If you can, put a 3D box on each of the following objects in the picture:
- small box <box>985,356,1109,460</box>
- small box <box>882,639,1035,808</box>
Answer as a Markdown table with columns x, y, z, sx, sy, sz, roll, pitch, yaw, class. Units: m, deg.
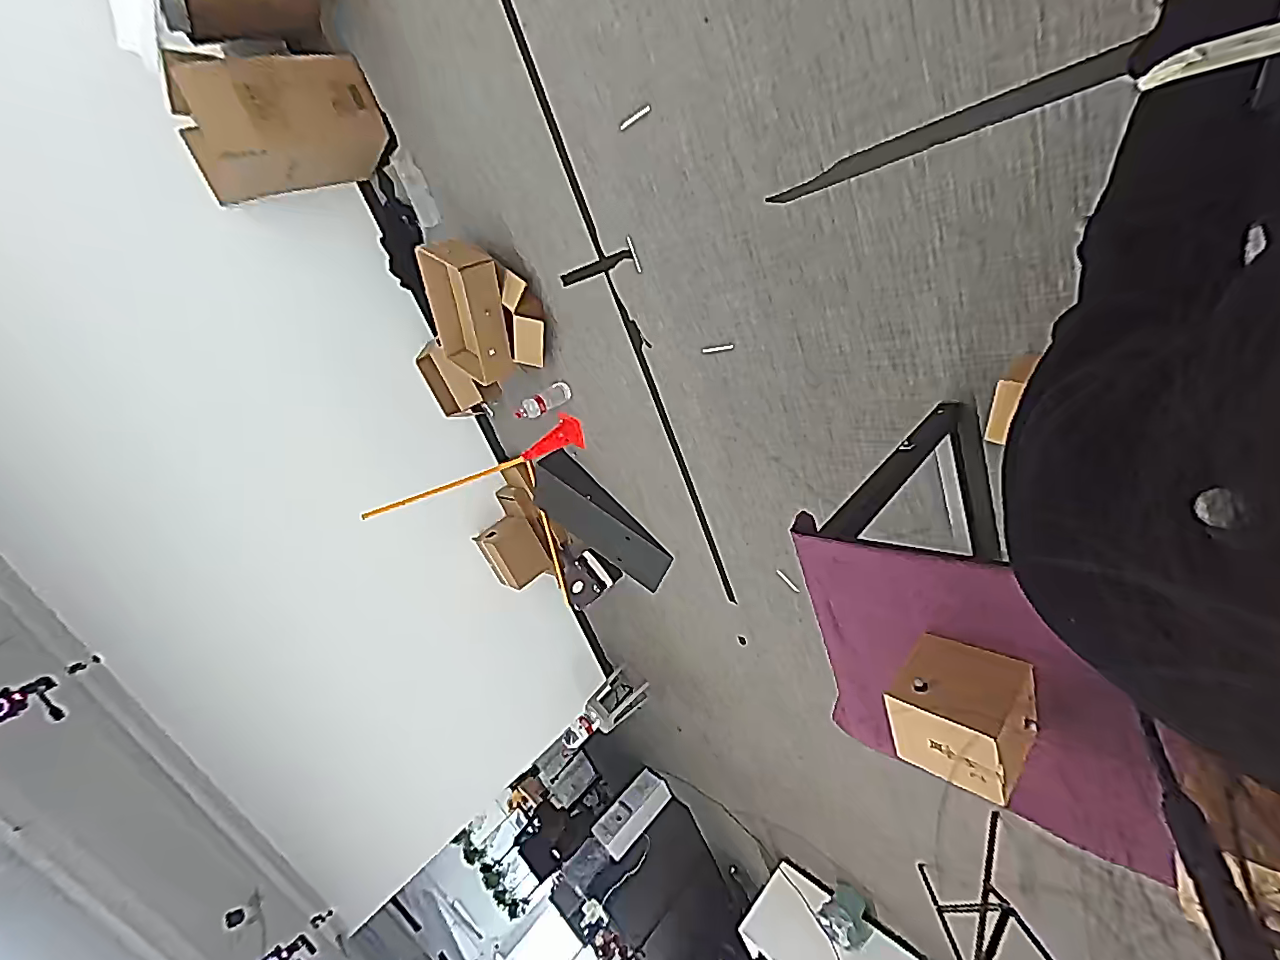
| x | y | z | sx | sy | sz | roll | pitch | yaw | class |
| --- | --- | --- | --- | --- | --- | --- | --- | --- | --- |
| 0.946 | -0.176 | 1.261 | 0.179 | 0.176 | 0.168 | 23 | 136 | 39 | small box |
| 0.551 | 0.405 | 0.934 | 0.179 | 0.176 | 0.168 | 8 | 127 | 50 | small box |
